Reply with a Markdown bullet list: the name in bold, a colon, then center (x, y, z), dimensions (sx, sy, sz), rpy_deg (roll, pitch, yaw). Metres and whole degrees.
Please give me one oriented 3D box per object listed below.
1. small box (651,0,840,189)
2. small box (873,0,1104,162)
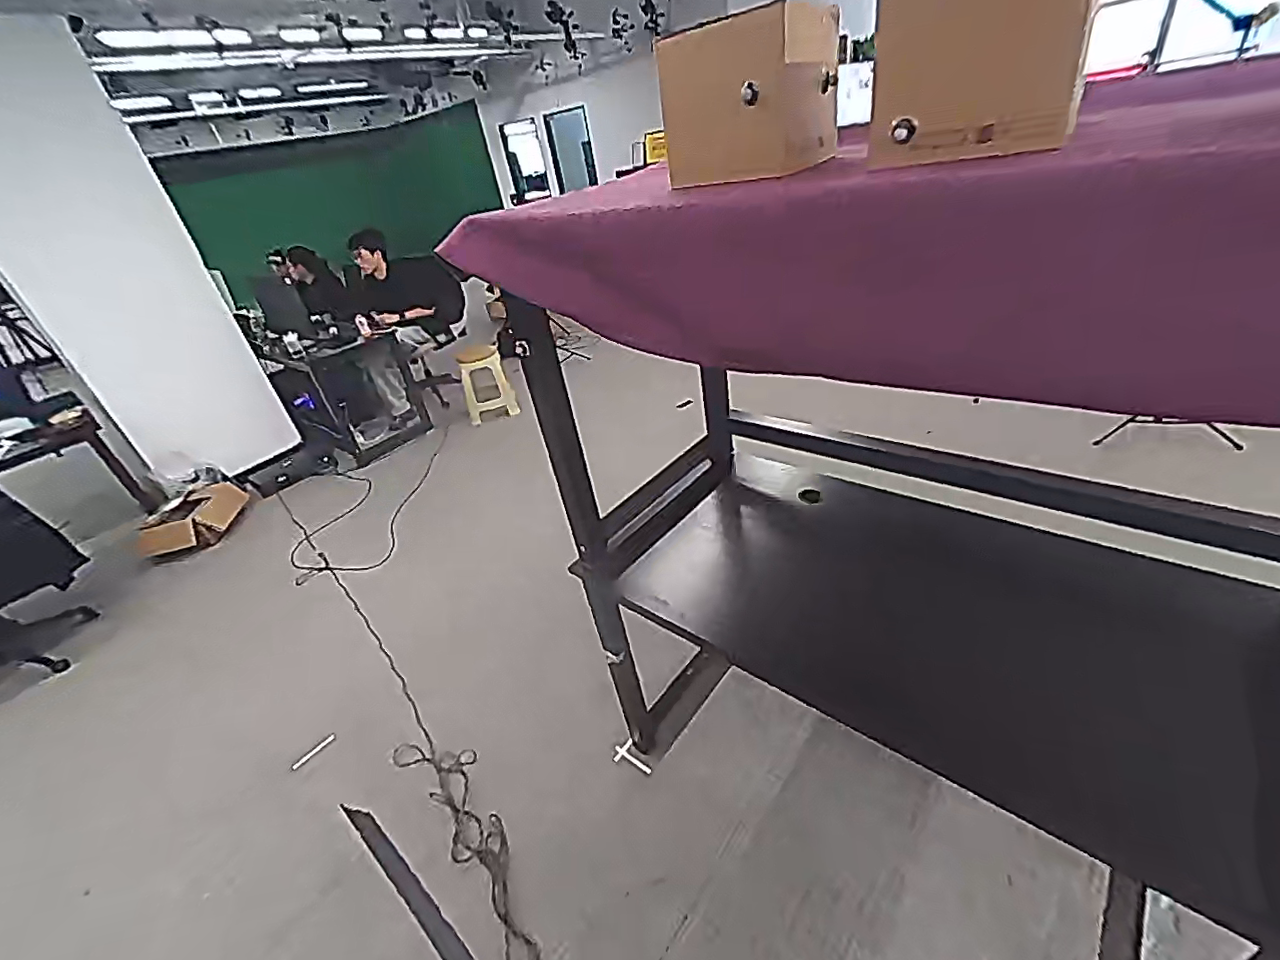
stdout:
- **small box**: center (0.141, -0.489, 0.698), dimensions (0.179, 0.176, 0.168), rpy_deg (15, 40, 36)
- **small box**: center (0.333, -0.415, 0.519), dimensions (0.168, 0.176, 0.179), rpy_deg (14, 39, 34)
